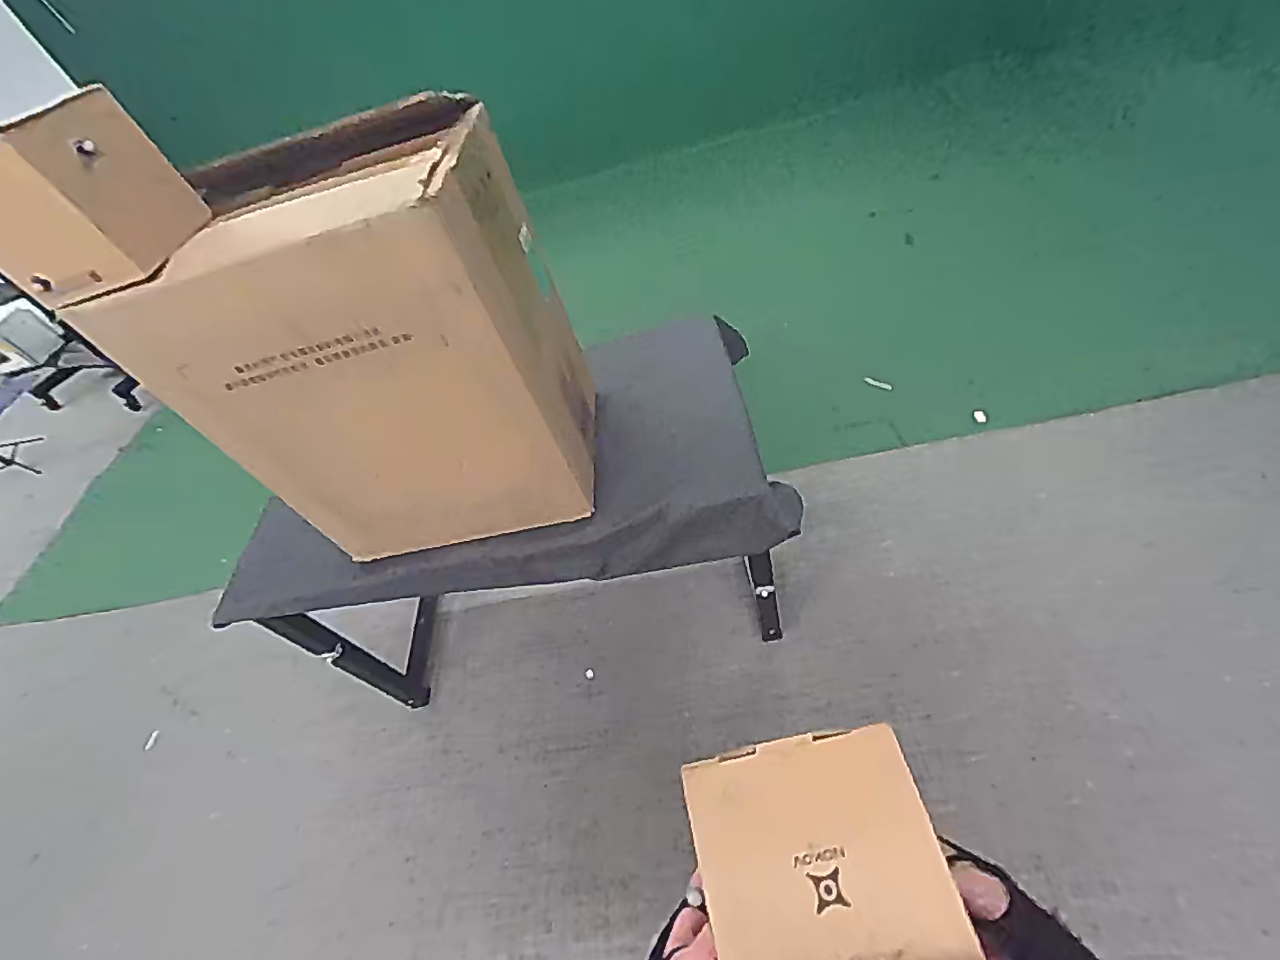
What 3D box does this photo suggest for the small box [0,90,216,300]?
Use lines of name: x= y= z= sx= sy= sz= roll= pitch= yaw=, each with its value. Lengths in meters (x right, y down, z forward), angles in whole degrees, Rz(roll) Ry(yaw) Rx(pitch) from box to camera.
small box: x=-0.701 y=-0.350 z=0.687 sx=0.168 sy=0.176 sz=0.179 roll=-11 pitch=48 yaw=11

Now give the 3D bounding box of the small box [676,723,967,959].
small box: x=0.127 y=0.313 z=0.436 sx=0.168 sy=0.176 sz=0.179 roll=-12 pitch=59 yaw=2
